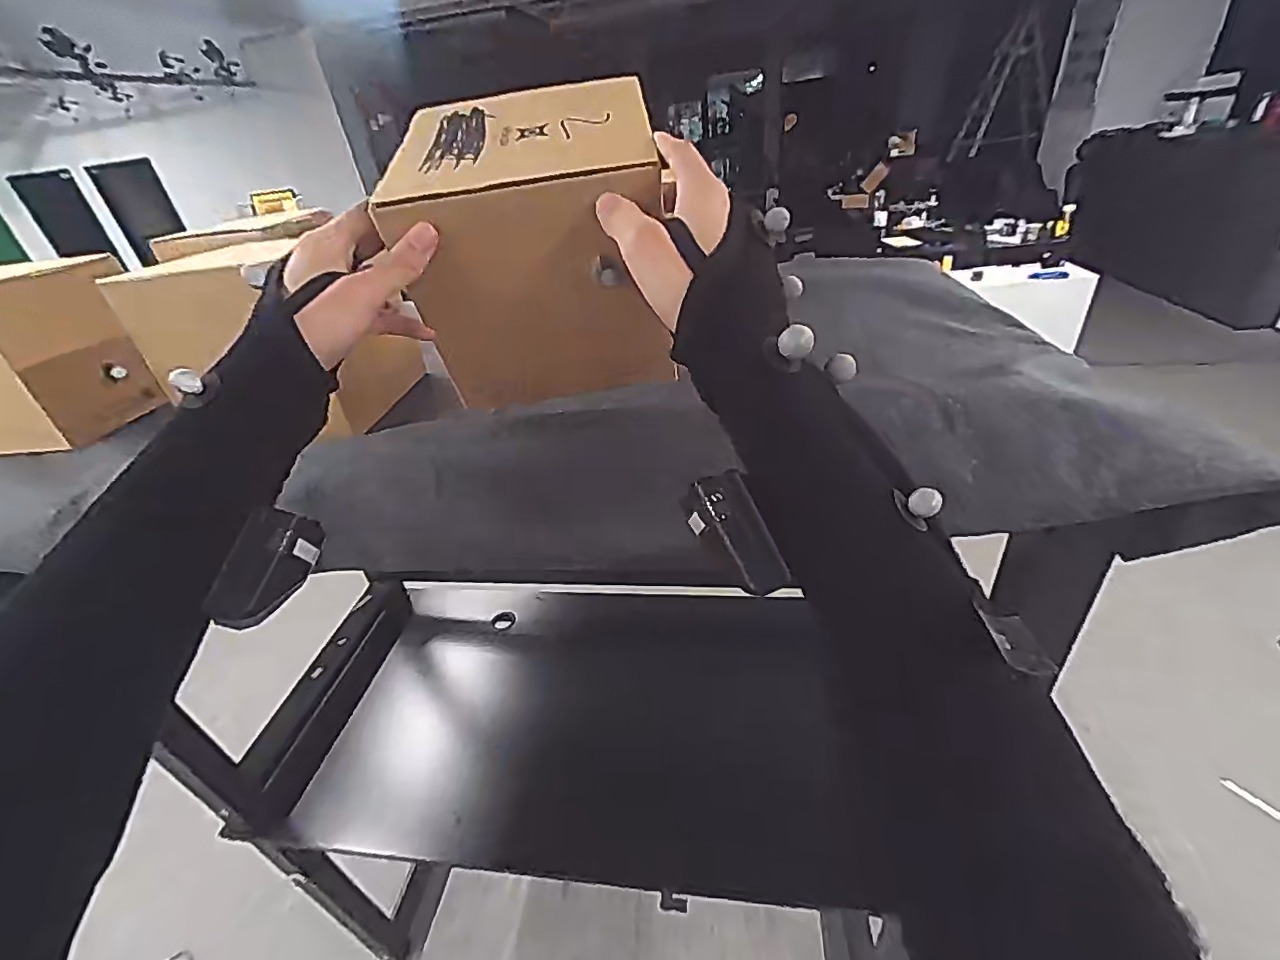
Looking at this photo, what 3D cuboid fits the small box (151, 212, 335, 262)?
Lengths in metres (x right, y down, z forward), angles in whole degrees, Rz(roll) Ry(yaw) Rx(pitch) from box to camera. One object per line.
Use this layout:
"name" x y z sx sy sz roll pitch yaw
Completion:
"small box" -0.558 -0.297 0.824 0.179 0.176 0.168 -2 34 7

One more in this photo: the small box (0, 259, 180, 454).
"small box" -0.678 -0.136 0.600 0.179 0.176 0.168 -3 33 6

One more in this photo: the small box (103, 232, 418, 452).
"small box" -0.351 -0.143 0.549 0.168 0.176 0.179 -4 32 6

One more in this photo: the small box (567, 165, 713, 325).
"small box" 0.012 -0.316 0.738 0.168 0.176 0.179 -2 34 9
